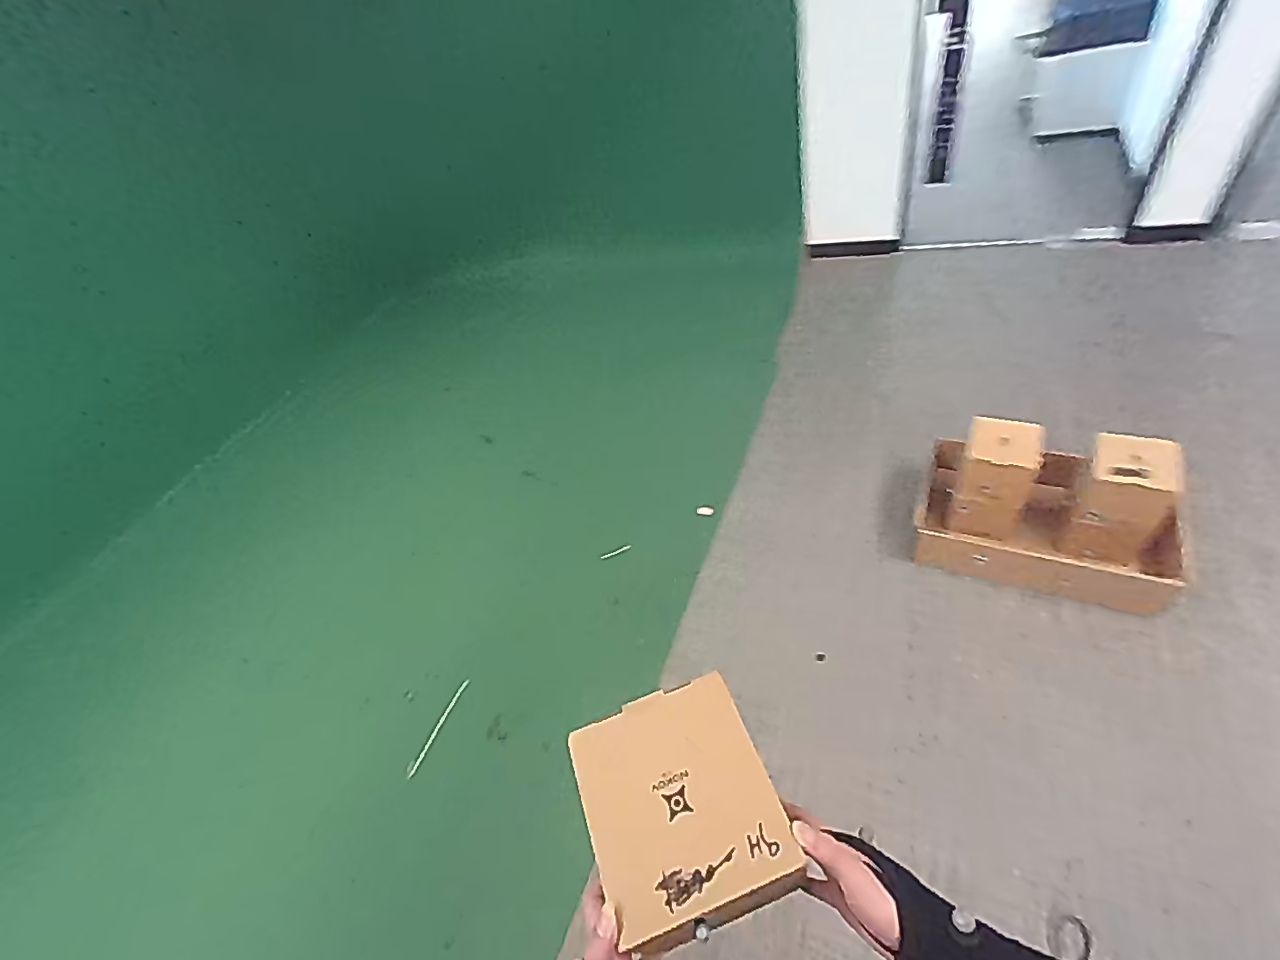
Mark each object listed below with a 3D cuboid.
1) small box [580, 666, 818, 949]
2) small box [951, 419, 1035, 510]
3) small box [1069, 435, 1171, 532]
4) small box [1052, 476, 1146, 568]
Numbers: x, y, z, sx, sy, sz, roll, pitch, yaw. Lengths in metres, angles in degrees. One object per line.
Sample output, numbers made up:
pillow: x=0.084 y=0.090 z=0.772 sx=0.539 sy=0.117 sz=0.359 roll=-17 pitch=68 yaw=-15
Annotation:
small box: x=0.054 y=0.322 z=0.533 sx=0.168 sy=0.176 sz=0.179 roll=-20 pitch=46 yaw=-4
small box: x=1.010 y=-0.045 z=1.554 sx=0.168 sy=0.176 sz=0.179 roll=13 pitch=54 yaw=27
small box: x=1.254 y=0.011 z=1.420 sx=0.168 sy=0.176 sz=0.179 roll=13 pitch=53 yaw=30
small box: x=1.295 y=0.119 z=1.536 sx=0.168 sy=0.176 sz=0.179 roll=11 pitch=54 yaw=28
